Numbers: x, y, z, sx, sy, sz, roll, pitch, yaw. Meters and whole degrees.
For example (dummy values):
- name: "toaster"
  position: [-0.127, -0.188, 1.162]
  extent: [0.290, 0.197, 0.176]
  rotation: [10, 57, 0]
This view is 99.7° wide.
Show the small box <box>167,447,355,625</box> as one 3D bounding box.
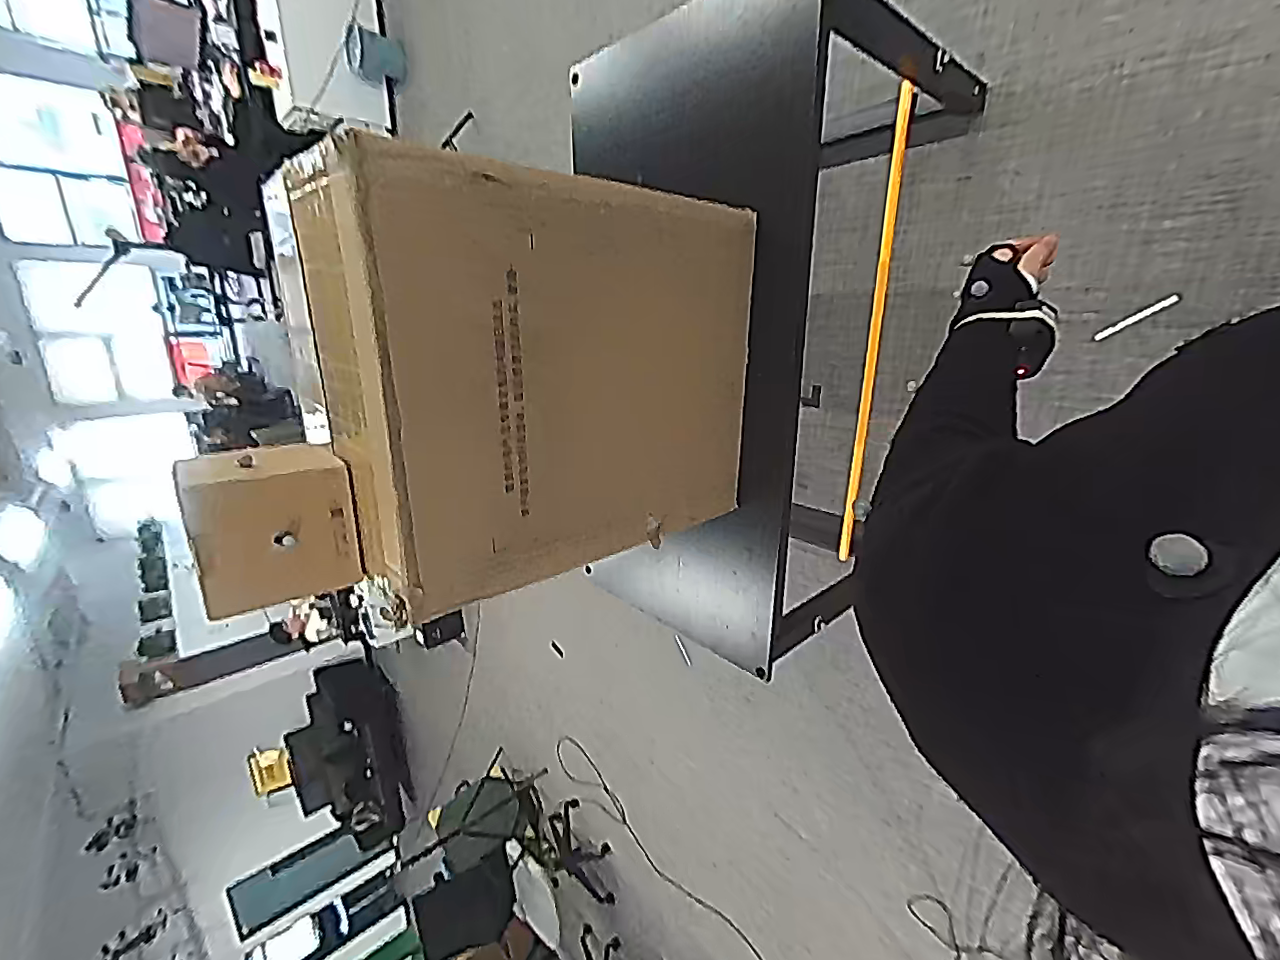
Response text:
- name: "small box"
  position: [-0.485, 0.056, 0.704]
  extent: [0.179, 0.176, 0.168]
  rotation: [17, 113, 47]
